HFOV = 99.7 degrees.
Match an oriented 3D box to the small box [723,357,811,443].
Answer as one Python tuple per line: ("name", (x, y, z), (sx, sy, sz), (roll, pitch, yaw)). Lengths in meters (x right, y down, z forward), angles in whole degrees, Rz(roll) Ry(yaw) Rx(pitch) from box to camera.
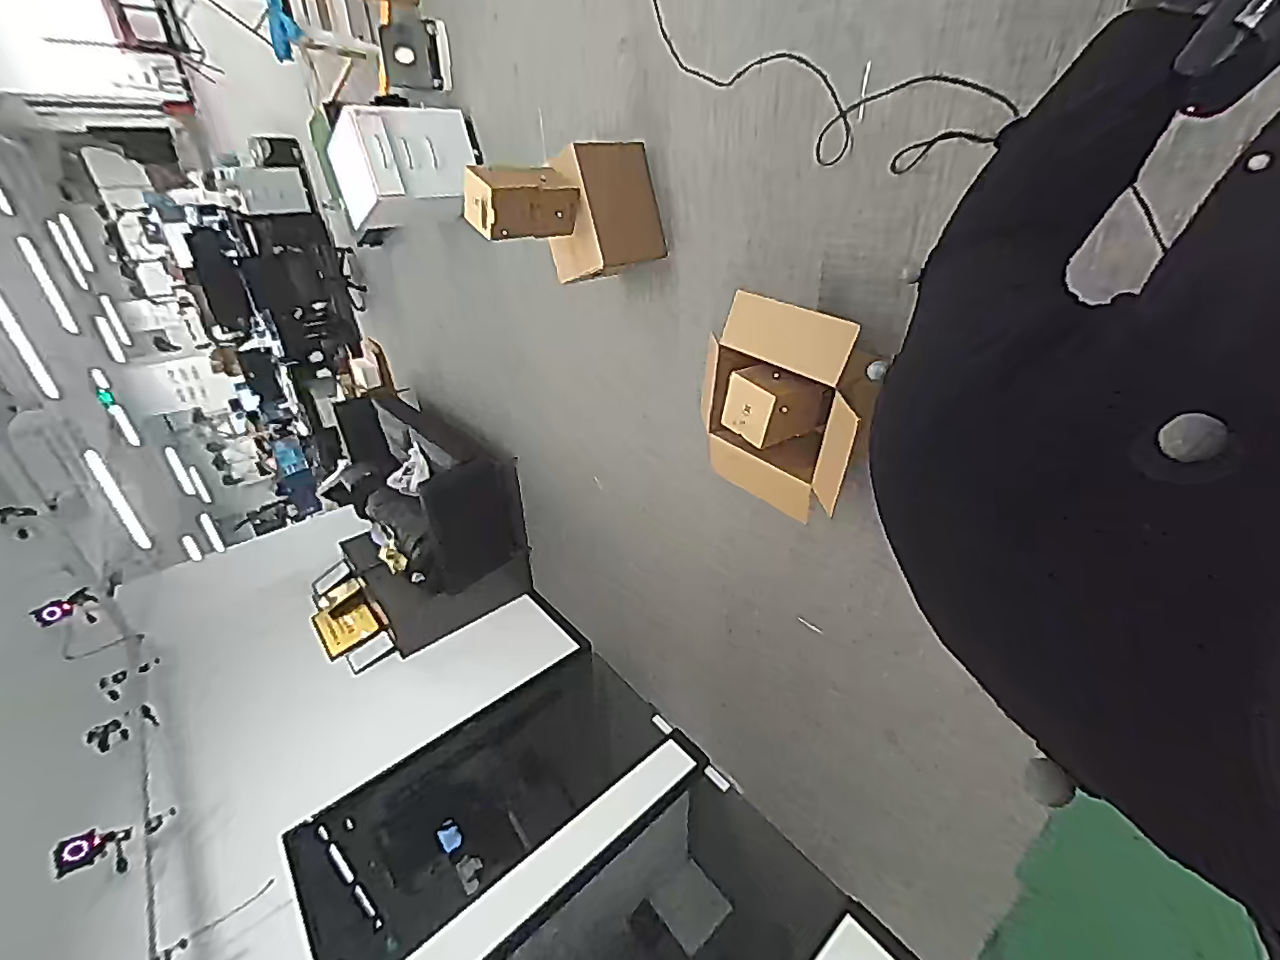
("small box", (0.374, -0.241, 1.586), (0.168, 0.176, 0.179), (42, 140, 36))

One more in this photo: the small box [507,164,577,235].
("small box", (-0.340, -0.979, 1.877), (0.179, 0.176, 0.168), (45, 141, 24))
